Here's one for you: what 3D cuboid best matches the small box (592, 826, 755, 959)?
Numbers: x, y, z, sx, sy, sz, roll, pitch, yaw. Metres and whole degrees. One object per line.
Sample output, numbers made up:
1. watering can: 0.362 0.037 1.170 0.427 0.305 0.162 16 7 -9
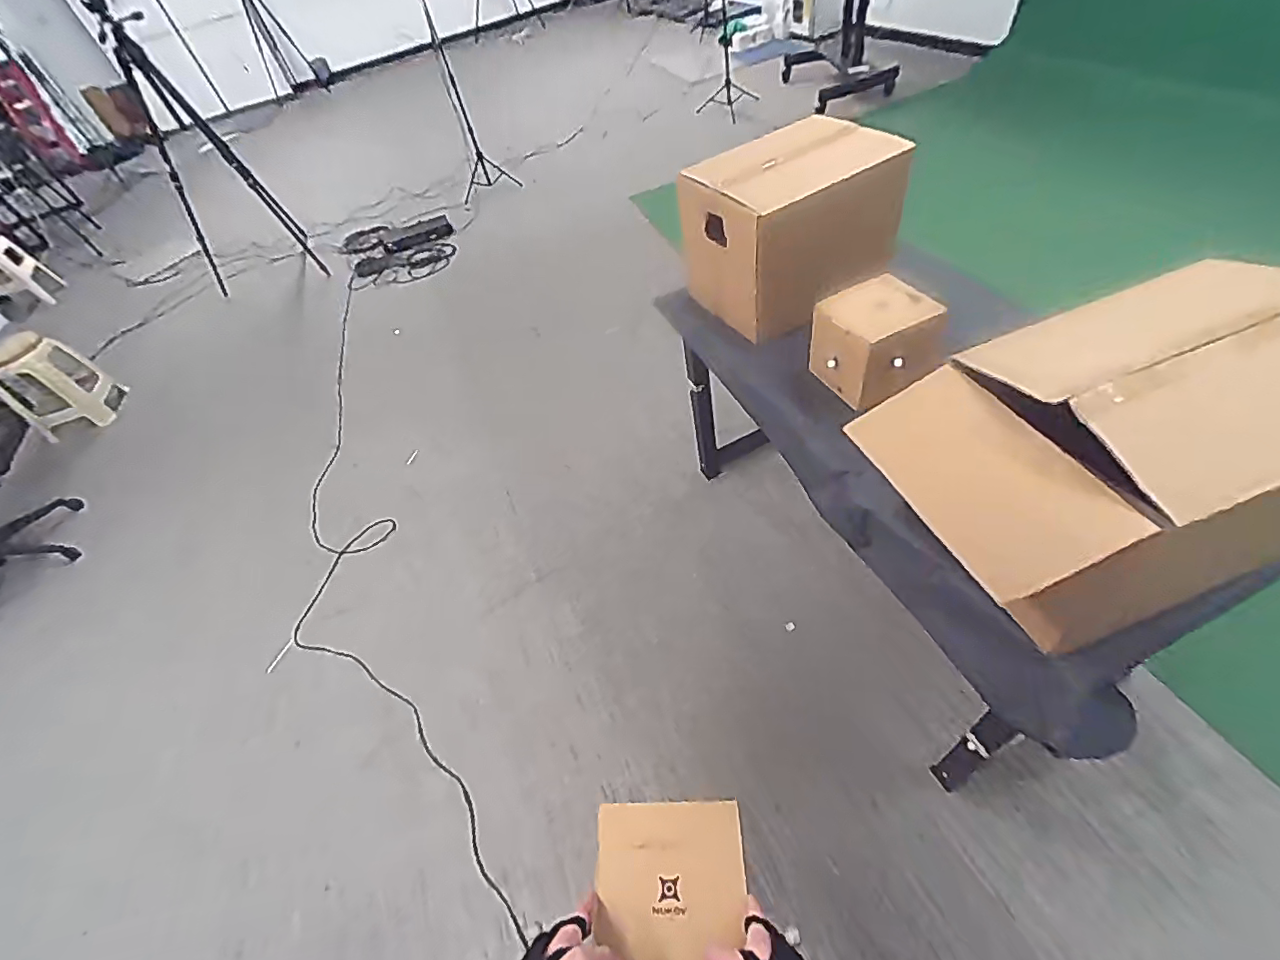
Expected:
1. small box: 0.040 0.514 0.611 0.168 0.176 0.179 -4 43 3
